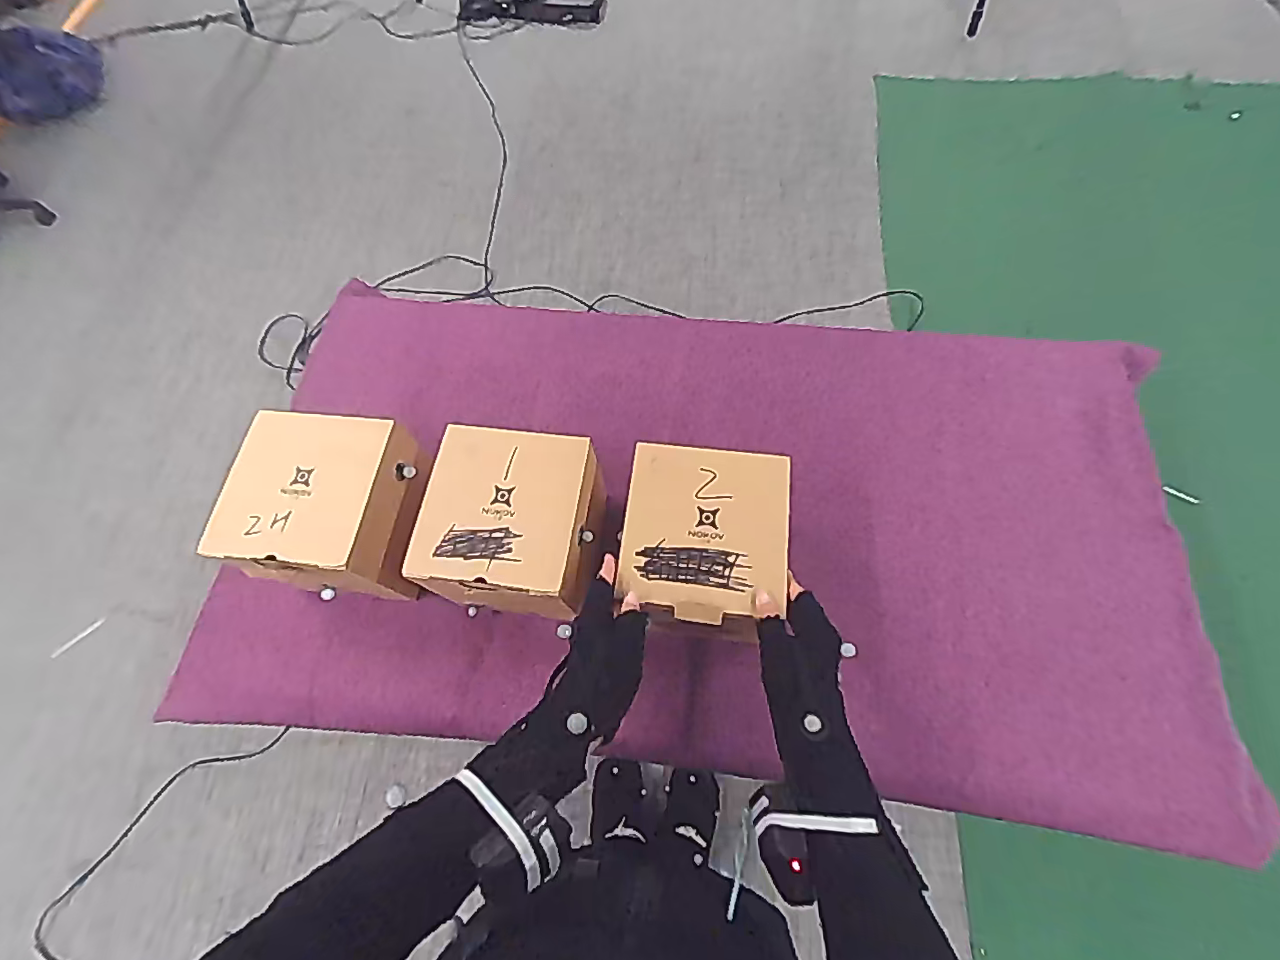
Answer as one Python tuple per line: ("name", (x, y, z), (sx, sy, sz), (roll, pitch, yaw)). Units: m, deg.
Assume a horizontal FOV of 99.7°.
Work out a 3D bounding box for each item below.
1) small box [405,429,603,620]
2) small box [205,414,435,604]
("small box", (-0.143, 0.061, 0.644), (0.168, 0.176, 0.179), (6, 66, 5))
("small box", (-0.362, 0.041, 0.663), (0.168, 0.176, 0.179), (5, 66, 6))
